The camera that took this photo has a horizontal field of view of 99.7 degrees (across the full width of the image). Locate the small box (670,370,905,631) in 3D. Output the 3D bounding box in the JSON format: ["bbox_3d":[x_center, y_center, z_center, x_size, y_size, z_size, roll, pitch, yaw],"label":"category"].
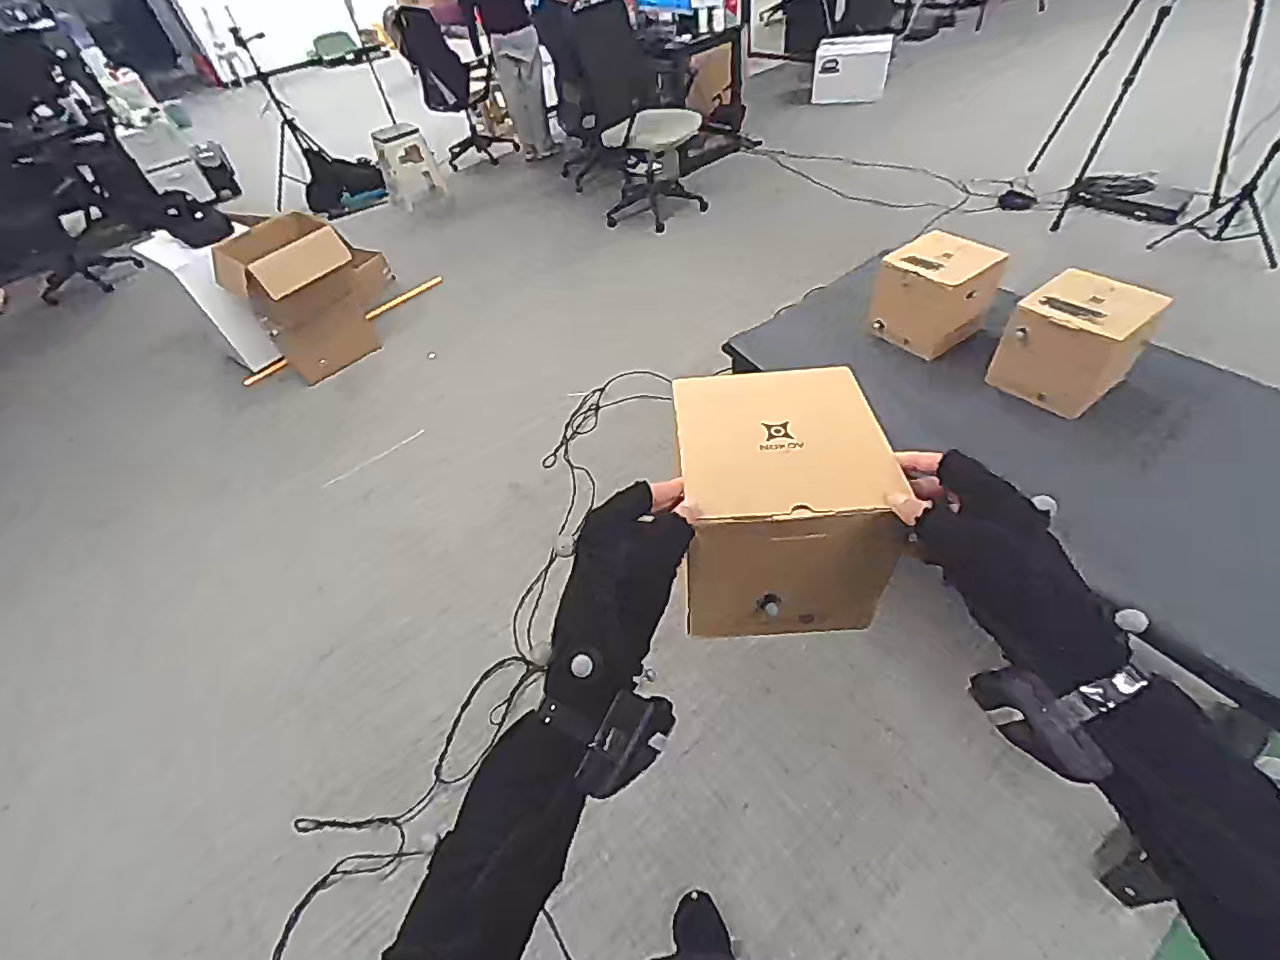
[{"bbox_3d":[0.114,0.019,0.506,0.168,0.176,0.179,-4,45,2],"label":"small box"}]

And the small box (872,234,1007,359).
[{"bbox_3d":[0.613,-0.382,1.133,0.179,0.176,0.168,-31,51,-18],"label":"small box"}]
